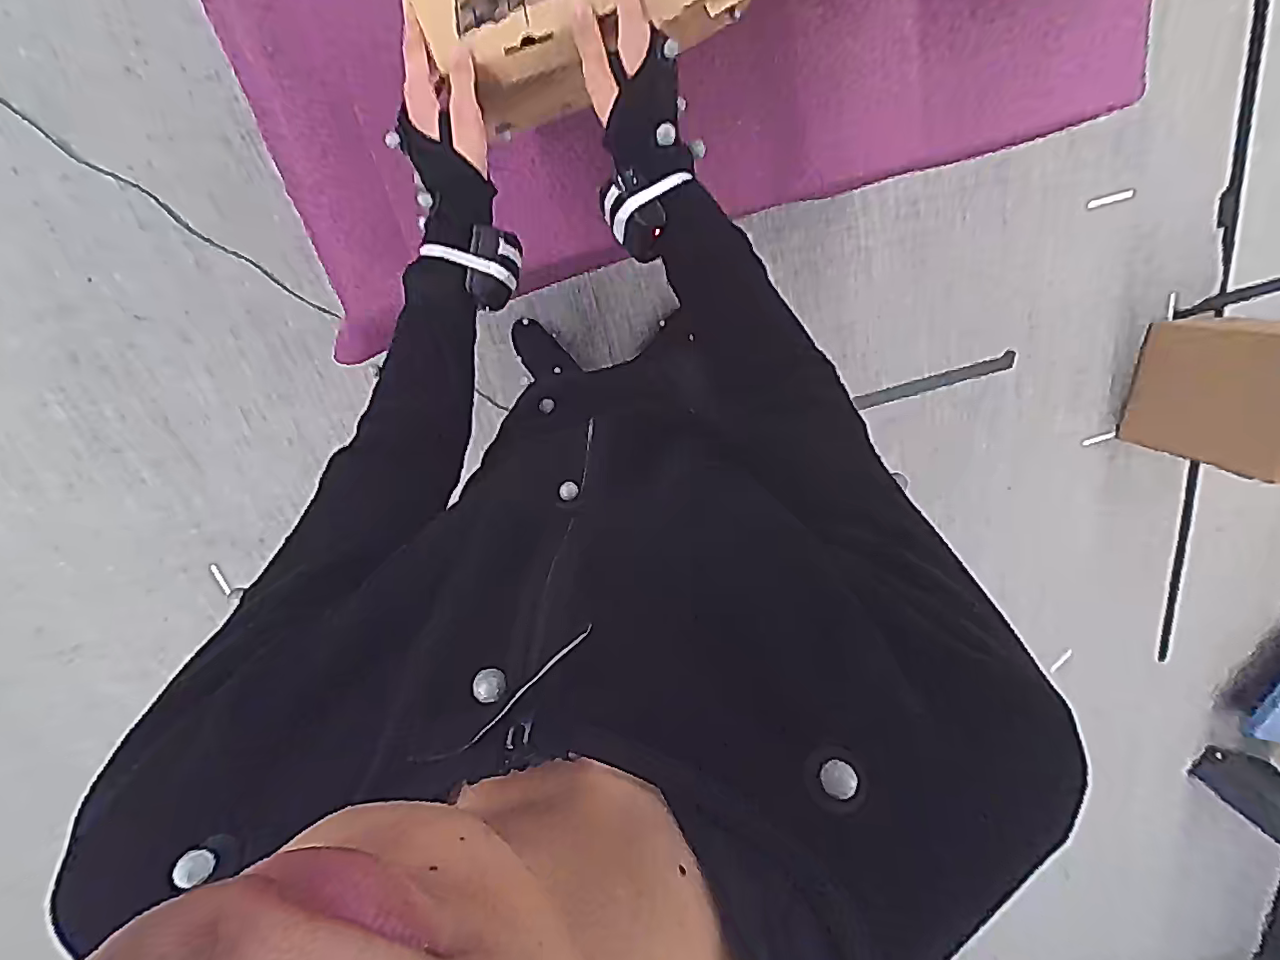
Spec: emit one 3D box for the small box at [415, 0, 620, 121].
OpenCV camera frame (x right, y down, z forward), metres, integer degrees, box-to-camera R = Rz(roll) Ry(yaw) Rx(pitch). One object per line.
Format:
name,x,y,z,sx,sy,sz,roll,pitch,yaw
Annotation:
small box,-0.121,-0.469,0.504,0.168,0.176,0.179,-19,106,1

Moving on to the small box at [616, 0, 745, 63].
small box,0.032,-0.602,0.592,0.168,0.176,0.179,-30,112,0
